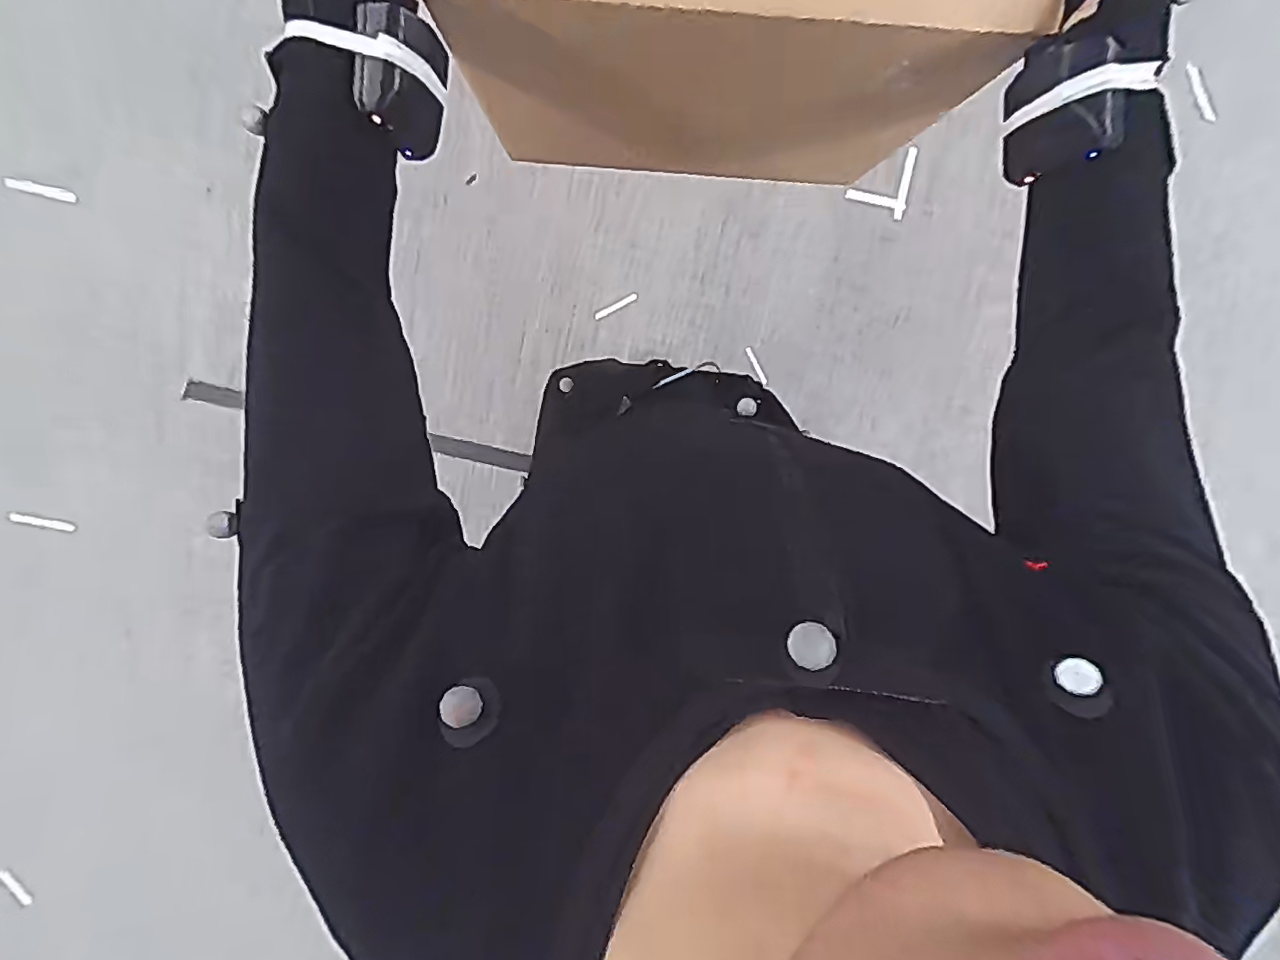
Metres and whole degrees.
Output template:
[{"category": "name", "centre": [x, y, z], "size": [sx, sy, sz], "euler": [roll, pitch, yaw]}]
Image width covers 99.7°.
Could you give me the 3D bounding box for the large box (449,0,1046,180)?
[{"category": "large box", "centre": [0.067, -0.480, 0.462], "size": [0.408, 0.320, 0.320], "euler": [3, 104, -4]}]
